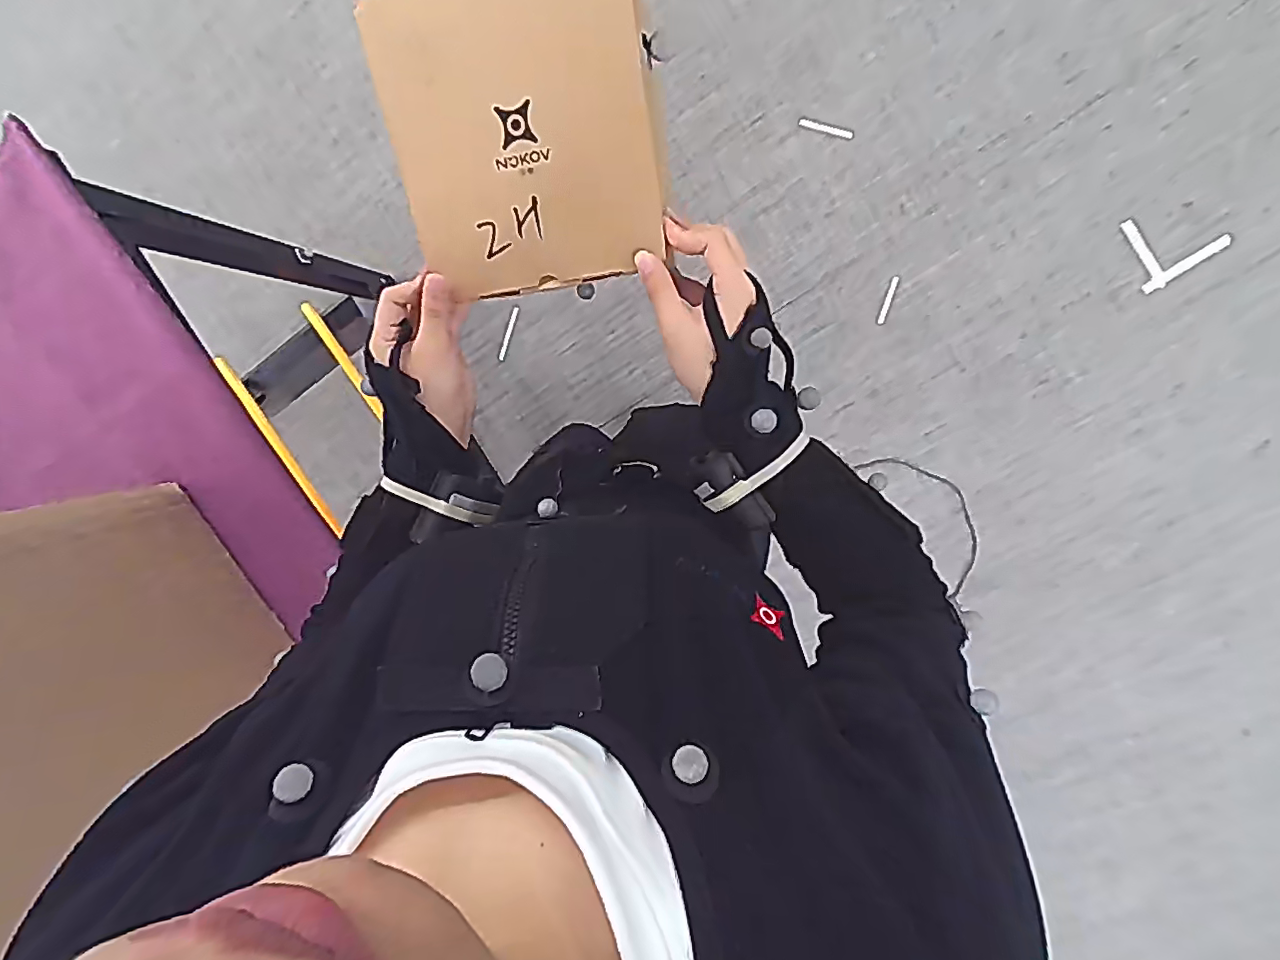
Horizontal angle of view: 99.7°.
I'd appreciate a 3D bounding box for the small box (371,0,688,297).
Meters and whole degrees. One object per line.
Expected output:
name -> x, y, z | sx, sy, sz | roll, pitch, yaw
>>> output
small box -> -0.059, -0.245, 0.413 | 0.168, 0.176, 0.179 | -7, 110, 12
